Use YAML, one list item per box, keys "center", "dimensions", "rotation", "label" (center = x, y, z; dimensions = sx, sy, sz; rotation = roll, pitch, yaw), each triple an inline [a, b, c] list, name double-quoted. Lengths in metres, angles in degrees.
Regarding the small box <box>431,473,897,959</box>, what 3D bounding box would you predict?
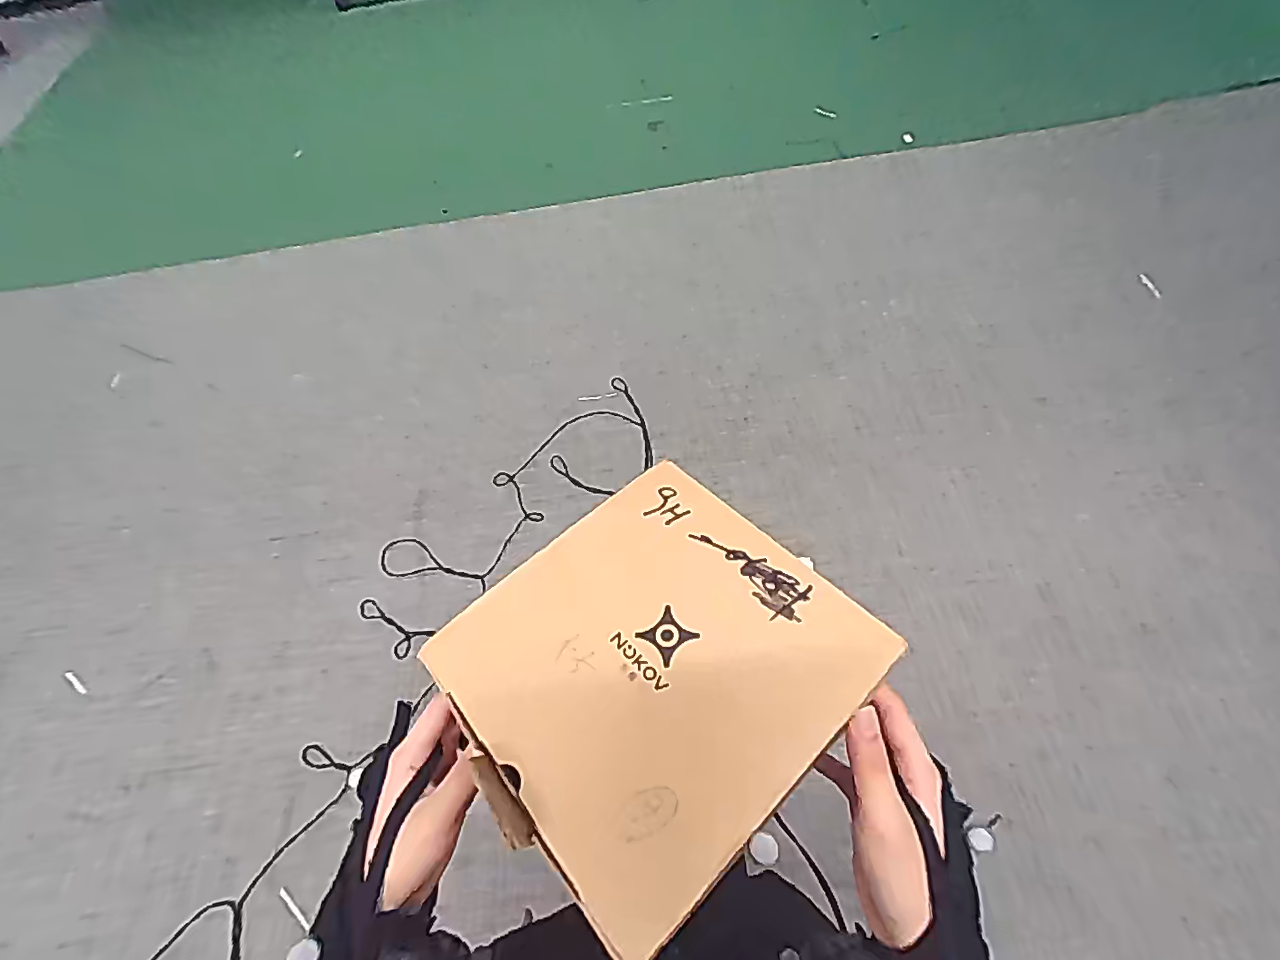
- center: [0.016, 0.137, 0.329]
  dimensions: [0.179, 0.176, 0.168]
  rotation: [-38, 58, -21]
  label: "small box"
